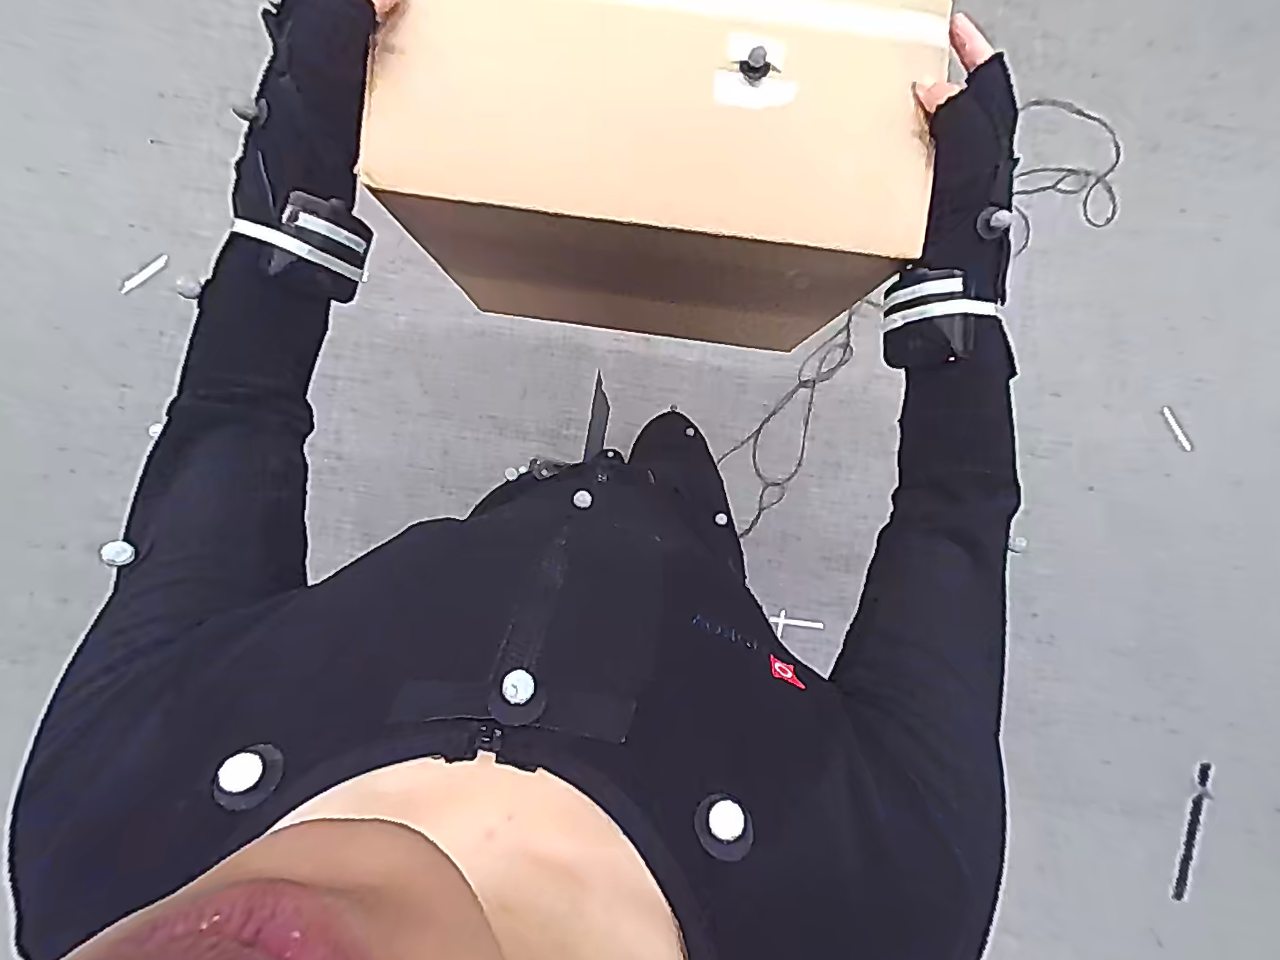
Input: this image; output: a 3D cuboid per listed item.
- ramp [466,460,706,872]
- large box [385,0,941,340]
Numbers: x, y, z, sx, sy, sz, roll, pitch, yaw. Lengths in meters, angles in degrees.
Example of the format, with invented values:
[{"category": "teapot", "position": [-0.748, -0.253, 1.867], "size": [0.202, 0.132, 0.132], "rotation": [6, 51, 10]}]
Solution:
[{"category": "ramp", "position": [-0.127, 0.460, 1.436], "size": [0.509, 0.206, 0.991], "rotation": [7, 90, 1]}, {"category": "large box", "position": [0.019, -0.350, 0.548], "size": [0.408, 0.320, 0.320], "rotation": [7, 91, -2]}]
